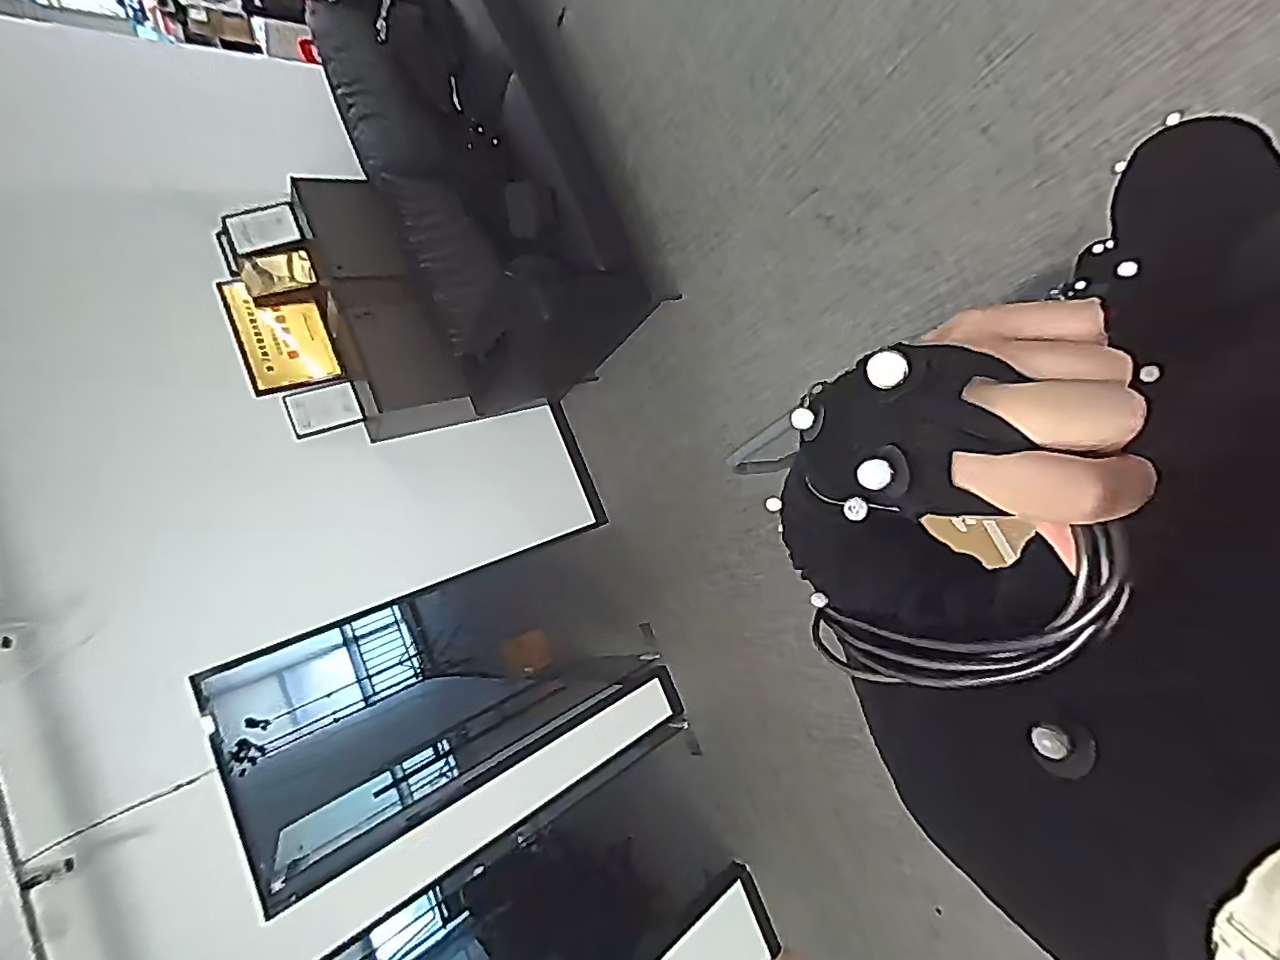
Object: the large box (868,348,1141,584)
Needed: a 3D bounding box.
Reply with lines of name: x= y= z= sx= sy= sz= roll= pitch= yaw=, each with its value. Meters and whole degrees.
large box: x=0.809 y=-0.035 z=1.220 sx=0.320 sy=0.320 sz=0.408 roll=-38 pitch=74 yaw=53
